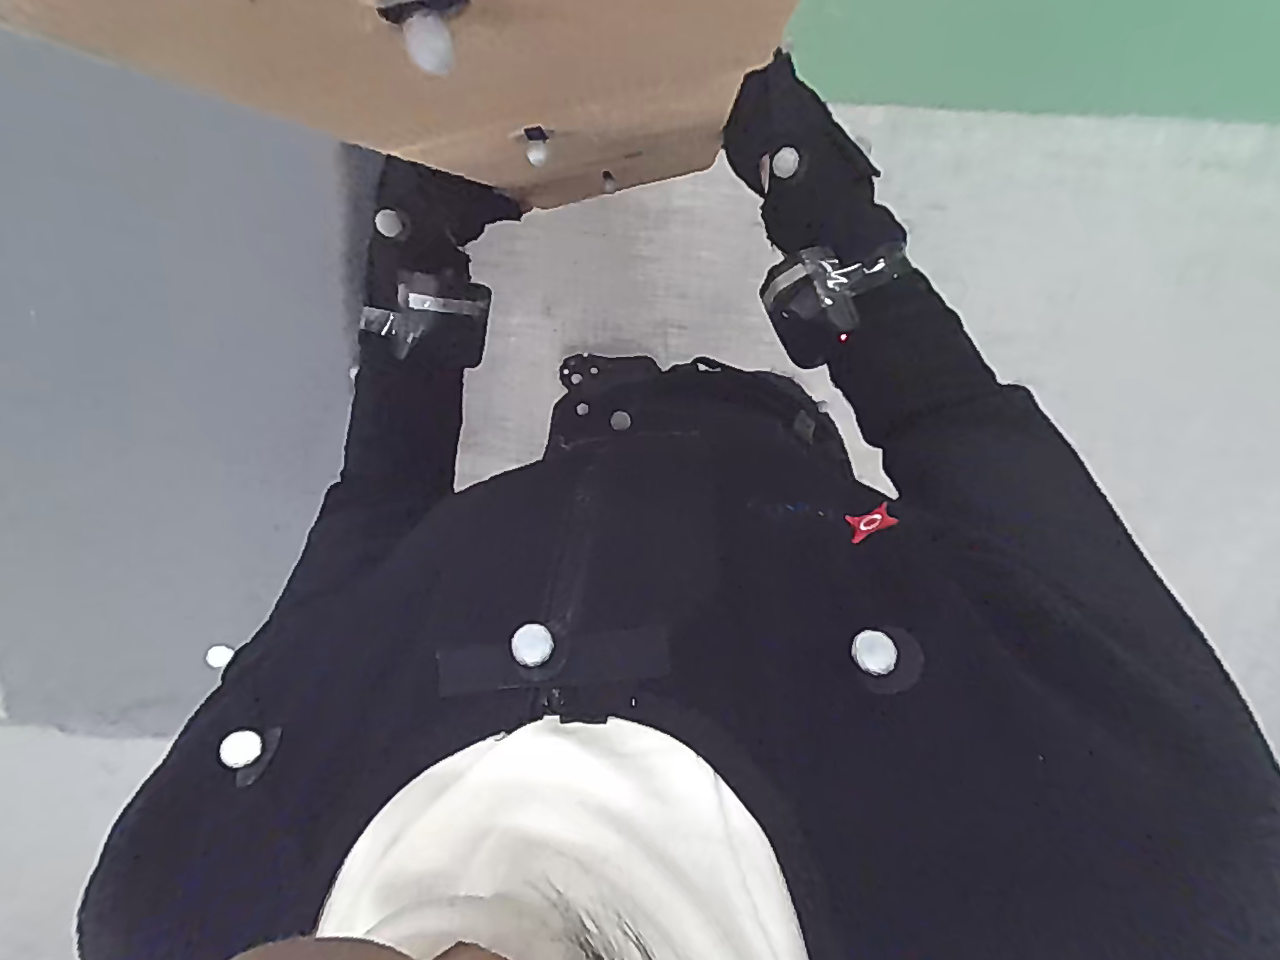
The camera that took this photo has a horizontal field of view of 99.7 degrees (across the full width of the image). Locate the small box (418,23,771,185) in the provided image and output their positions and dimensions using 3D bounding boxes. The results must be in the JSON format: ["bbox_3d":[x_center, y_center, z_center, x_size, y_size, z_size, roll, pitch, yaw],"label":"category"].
[{"bbox_3d":[-0.037,-0.278,0.285,0.168,0.176,0.179,-11,112,8],"label":"small box"}]
